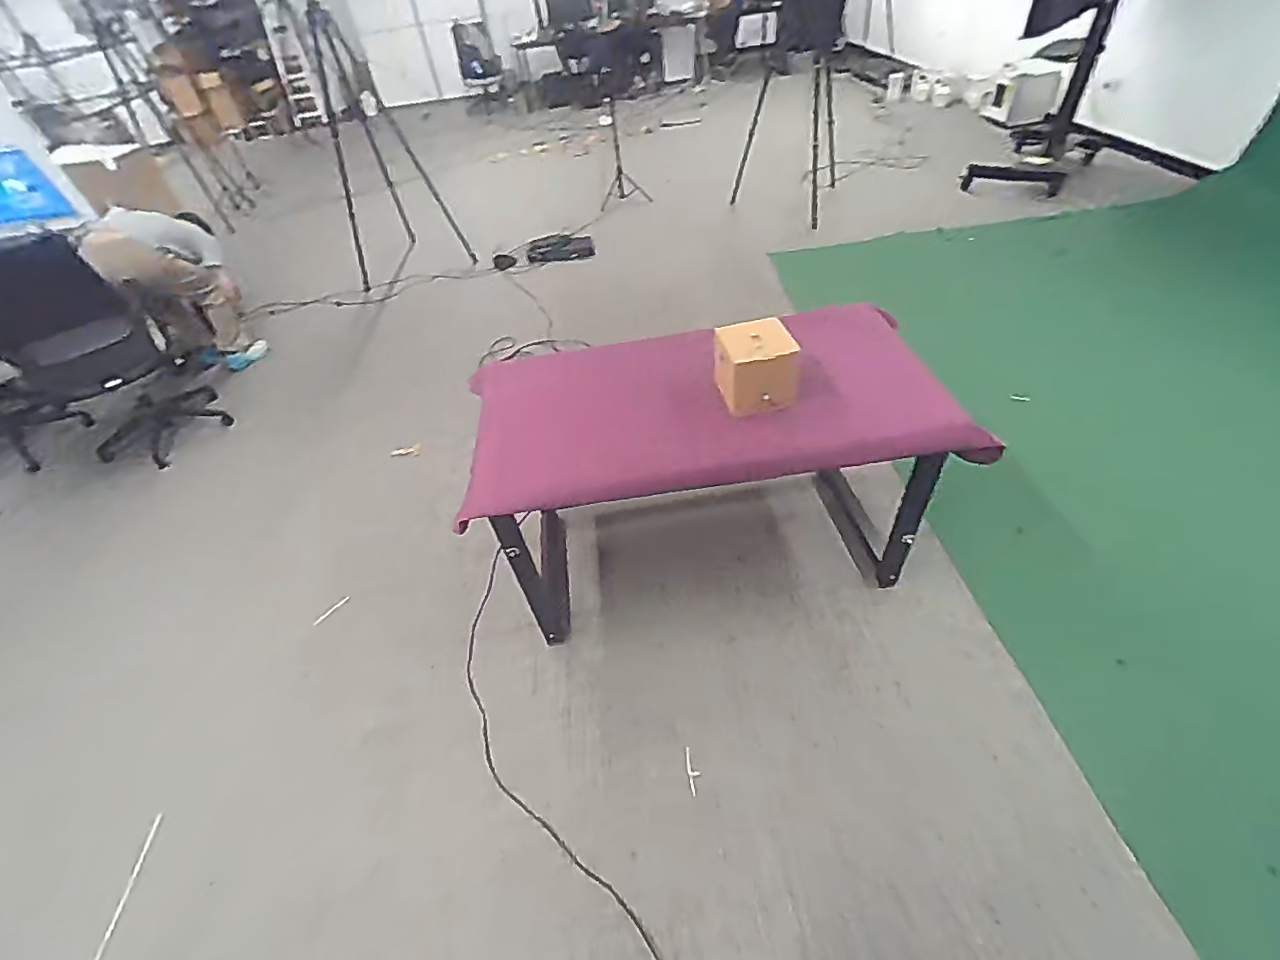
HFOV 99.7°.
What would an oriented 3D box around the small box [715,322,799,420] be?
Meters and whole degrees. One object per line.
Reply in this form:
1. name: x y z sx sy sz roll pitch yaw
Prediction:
1. small box: 0.293 -0.279 1.393 0.168 0.176 0.179 -12 45 -2
